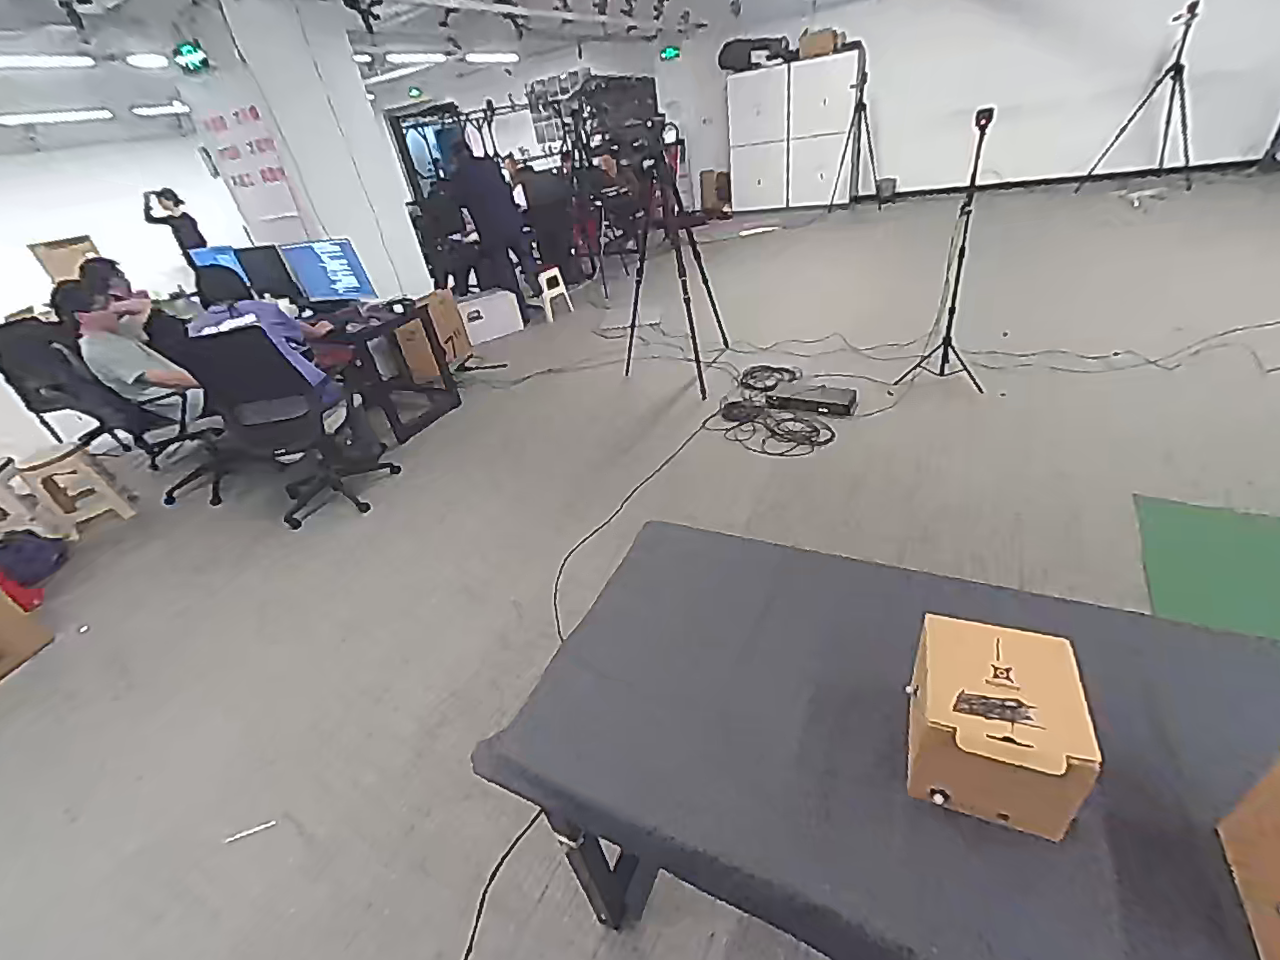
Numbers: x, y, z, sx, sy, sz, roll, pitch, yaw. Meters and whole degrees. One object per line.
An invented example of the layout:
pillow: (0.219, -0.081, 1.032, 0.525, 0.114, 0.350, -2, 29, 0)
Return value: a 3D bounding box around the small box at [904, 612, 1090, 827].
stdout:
small box: (0.446, 0.306, 0.703, 0.168, 0.176, 0.179, 7, 36, 24)
